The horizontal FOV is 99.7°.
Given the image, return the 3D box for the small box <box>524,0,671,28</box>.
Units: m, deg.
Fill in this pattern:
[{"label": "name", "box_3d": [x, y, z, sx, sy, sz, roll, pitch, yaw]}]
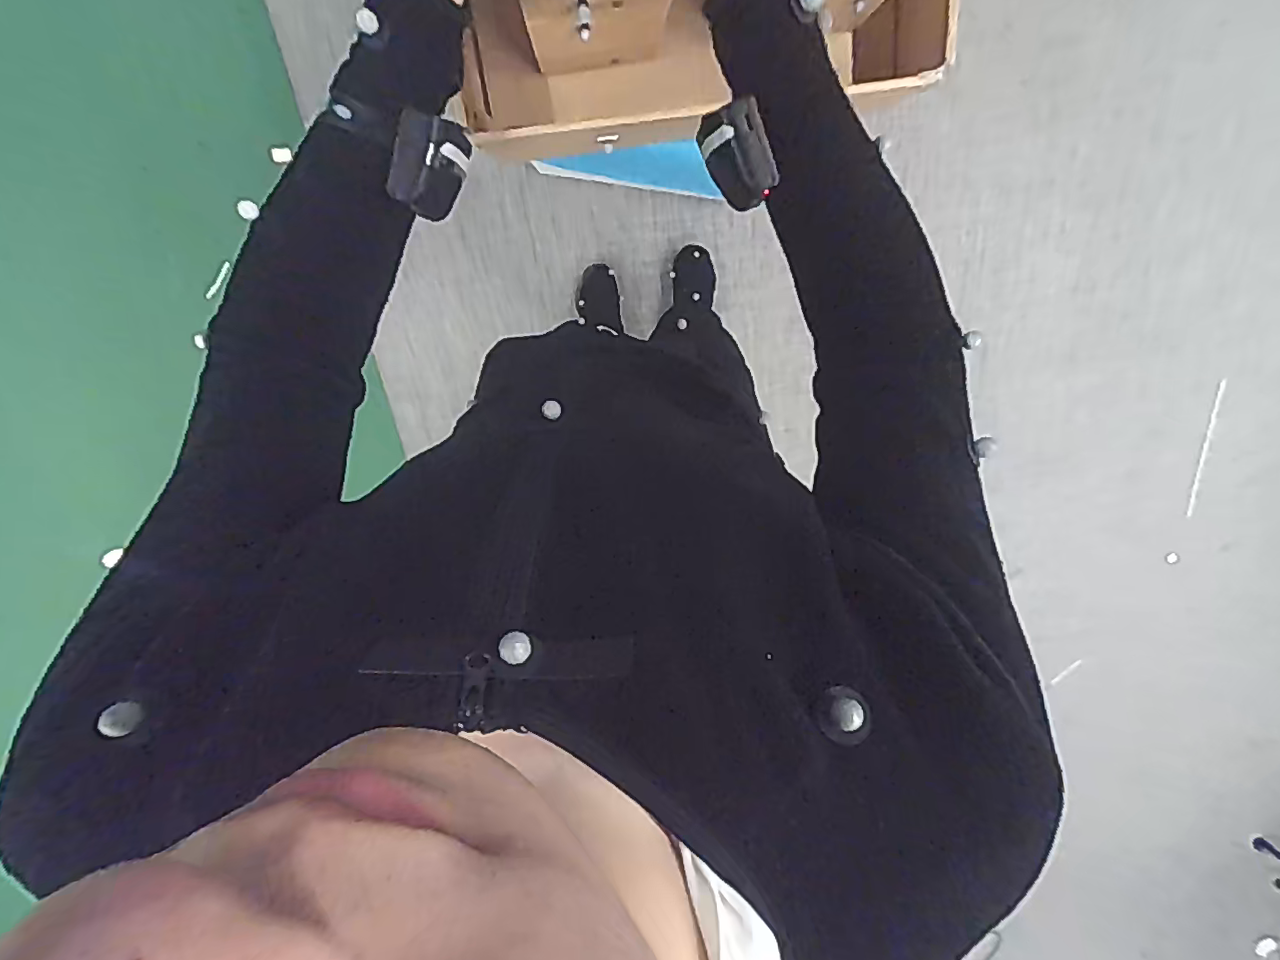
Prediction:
[{"label": "small box", "box_3d": [-0.049, -0.569, 0.504, 0.168, 0.176, 0.179, -7, 111, 0]}]
